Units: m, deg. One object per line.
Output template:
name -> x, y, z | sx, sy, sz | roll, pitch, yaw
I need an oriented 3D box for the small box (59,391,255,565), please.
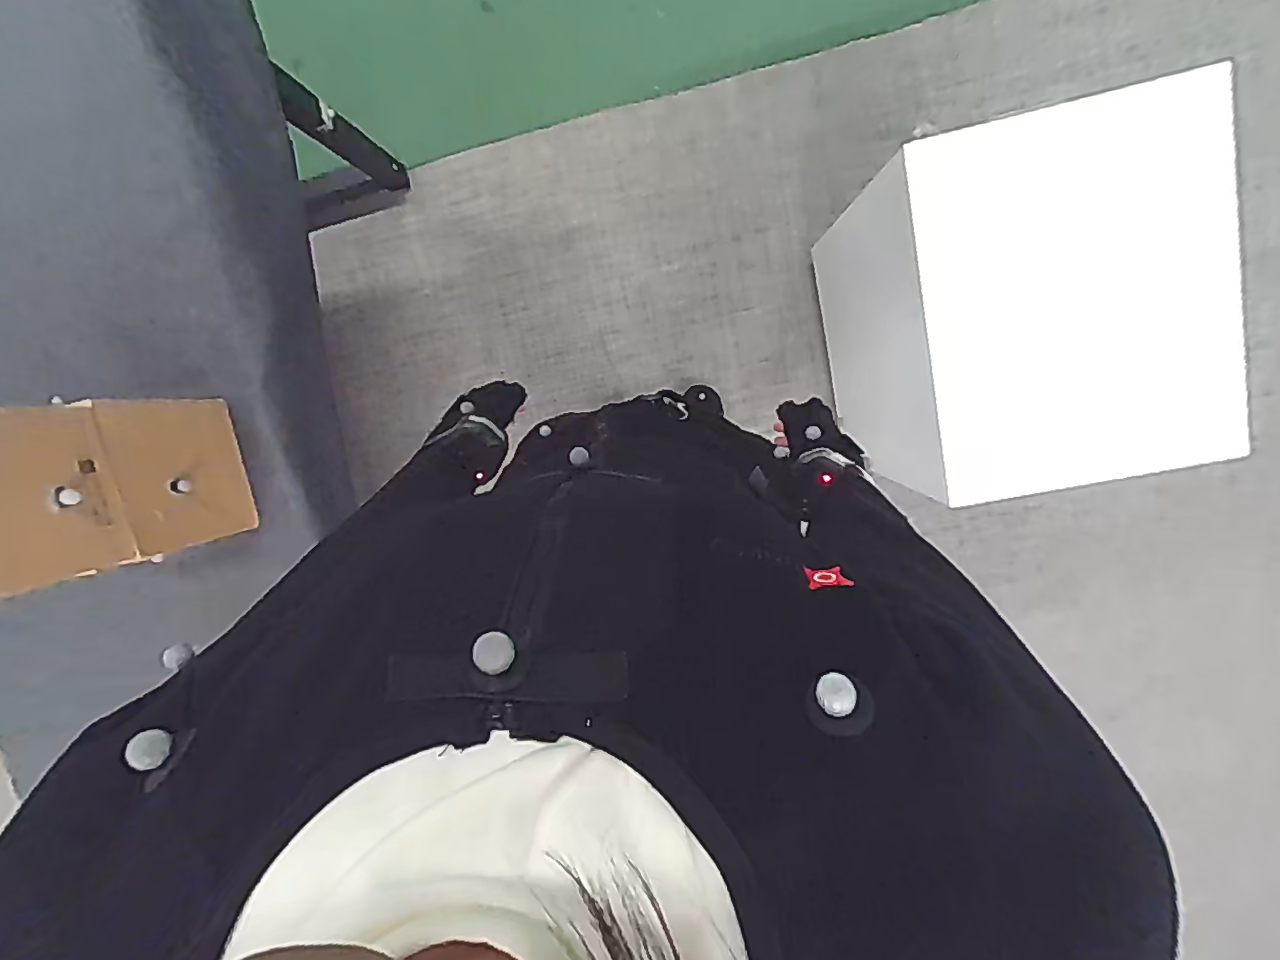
small box -> -0.621, -0.009, 0.662 | 0.168, 0.176, 0.179 | -9, 99, 7
